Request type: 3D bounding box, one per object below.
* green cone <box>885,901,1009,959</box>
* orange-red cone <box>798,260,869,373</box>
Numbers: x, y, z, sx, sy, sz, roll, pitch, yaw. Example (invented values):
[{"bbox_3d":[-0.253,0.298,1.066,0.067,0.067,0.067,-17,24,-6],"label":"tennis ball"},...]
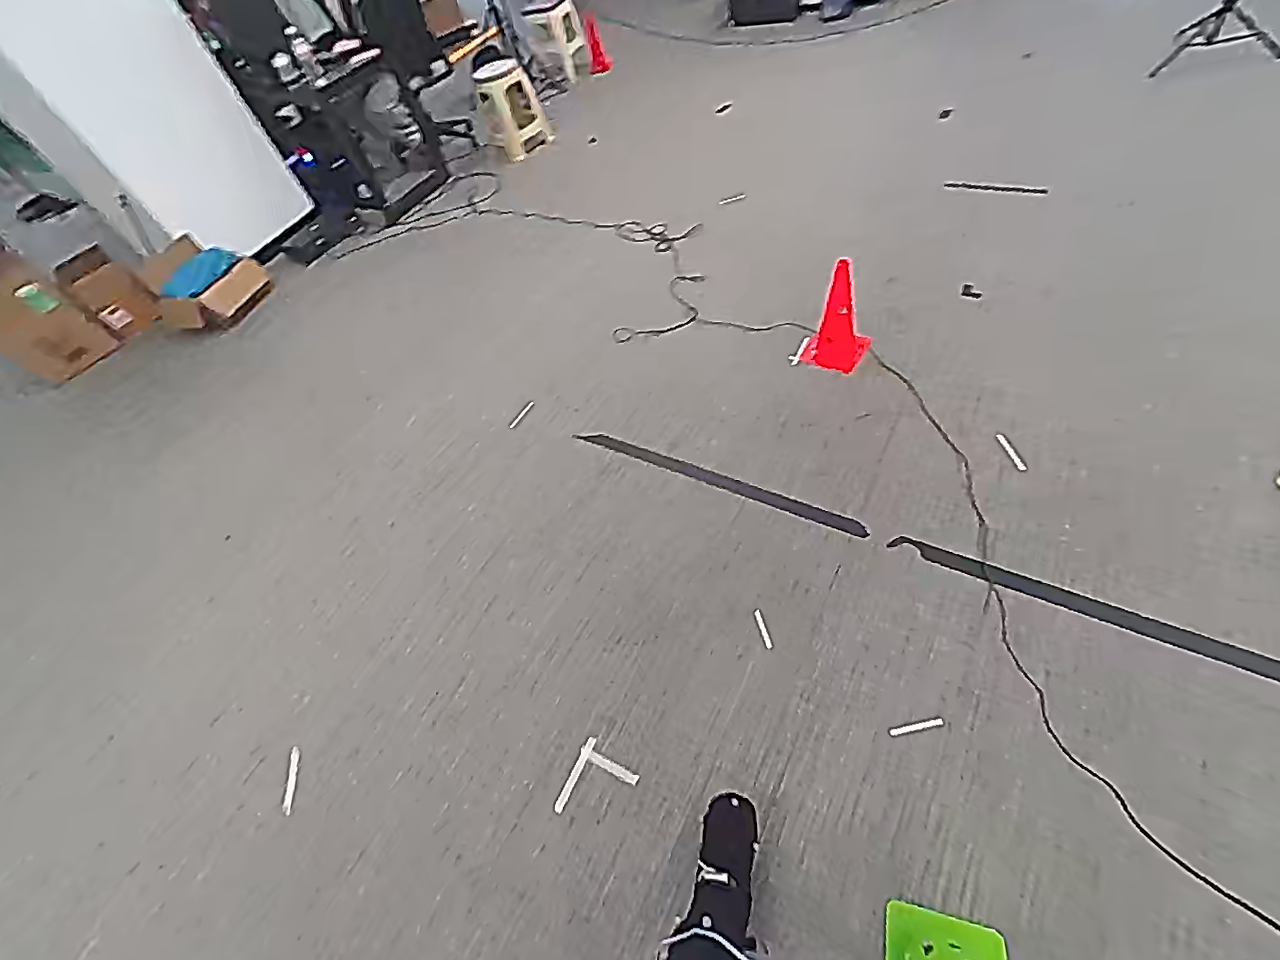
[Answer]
[{"bbox_3d":[0.508,0.793,0.829,0.202,0.368,0.200,4,54,19],"label":"green cone"},{"bbox_3d":[0.663,-0.569,1.814,0.199,0.360,0.198,27,65,29],"label":"orange-red cone"}]
